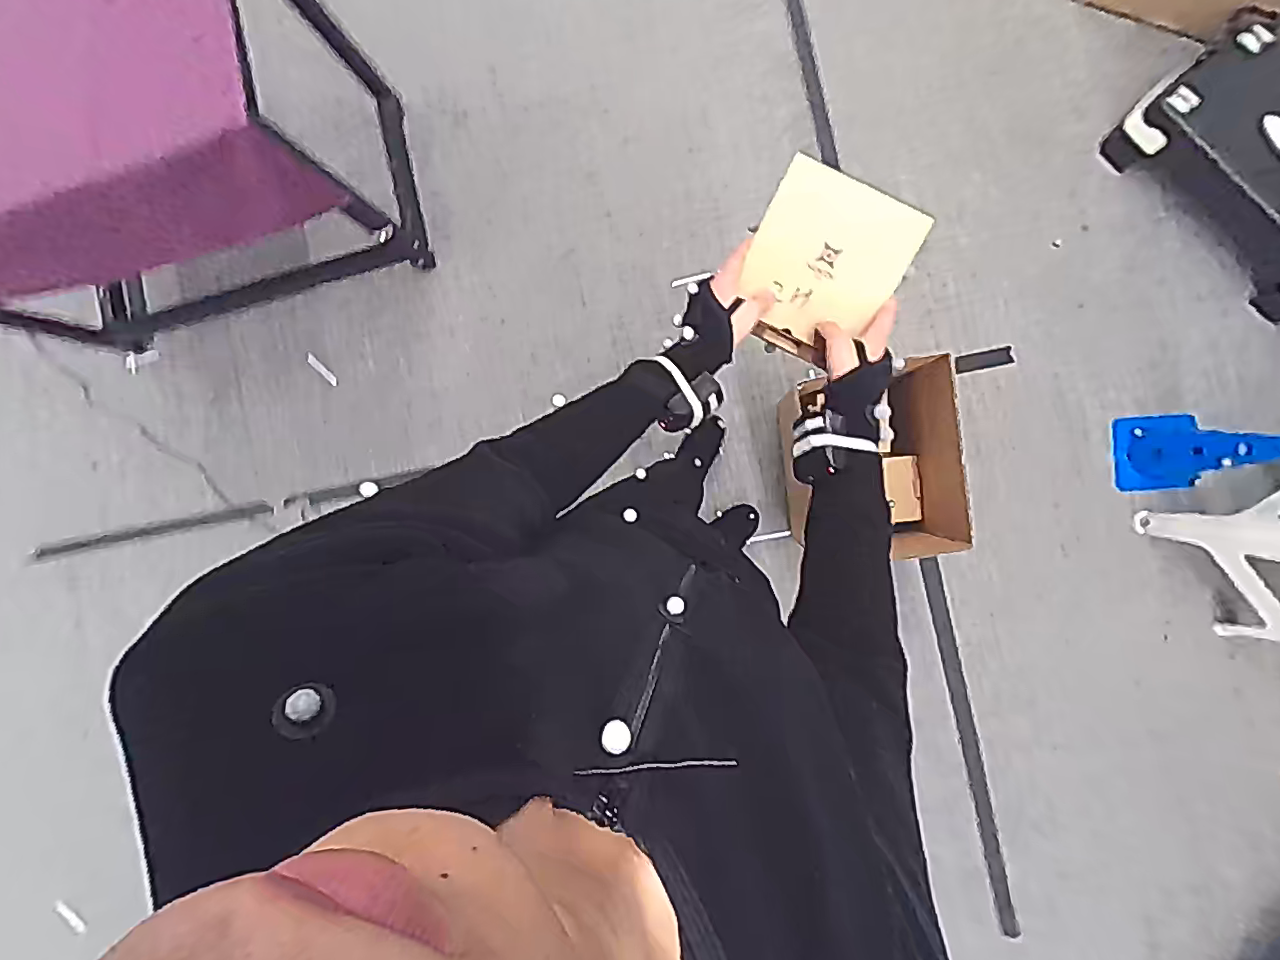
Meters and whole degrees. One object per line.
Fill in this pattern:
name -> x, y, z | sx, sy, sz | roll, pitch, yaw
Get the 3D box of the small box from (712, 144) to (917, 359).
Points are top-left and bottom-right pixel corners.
small box -> 0.198, -0.266, 0.674 | 0.168, 0.176, 0.179 | 27, 103, 2
